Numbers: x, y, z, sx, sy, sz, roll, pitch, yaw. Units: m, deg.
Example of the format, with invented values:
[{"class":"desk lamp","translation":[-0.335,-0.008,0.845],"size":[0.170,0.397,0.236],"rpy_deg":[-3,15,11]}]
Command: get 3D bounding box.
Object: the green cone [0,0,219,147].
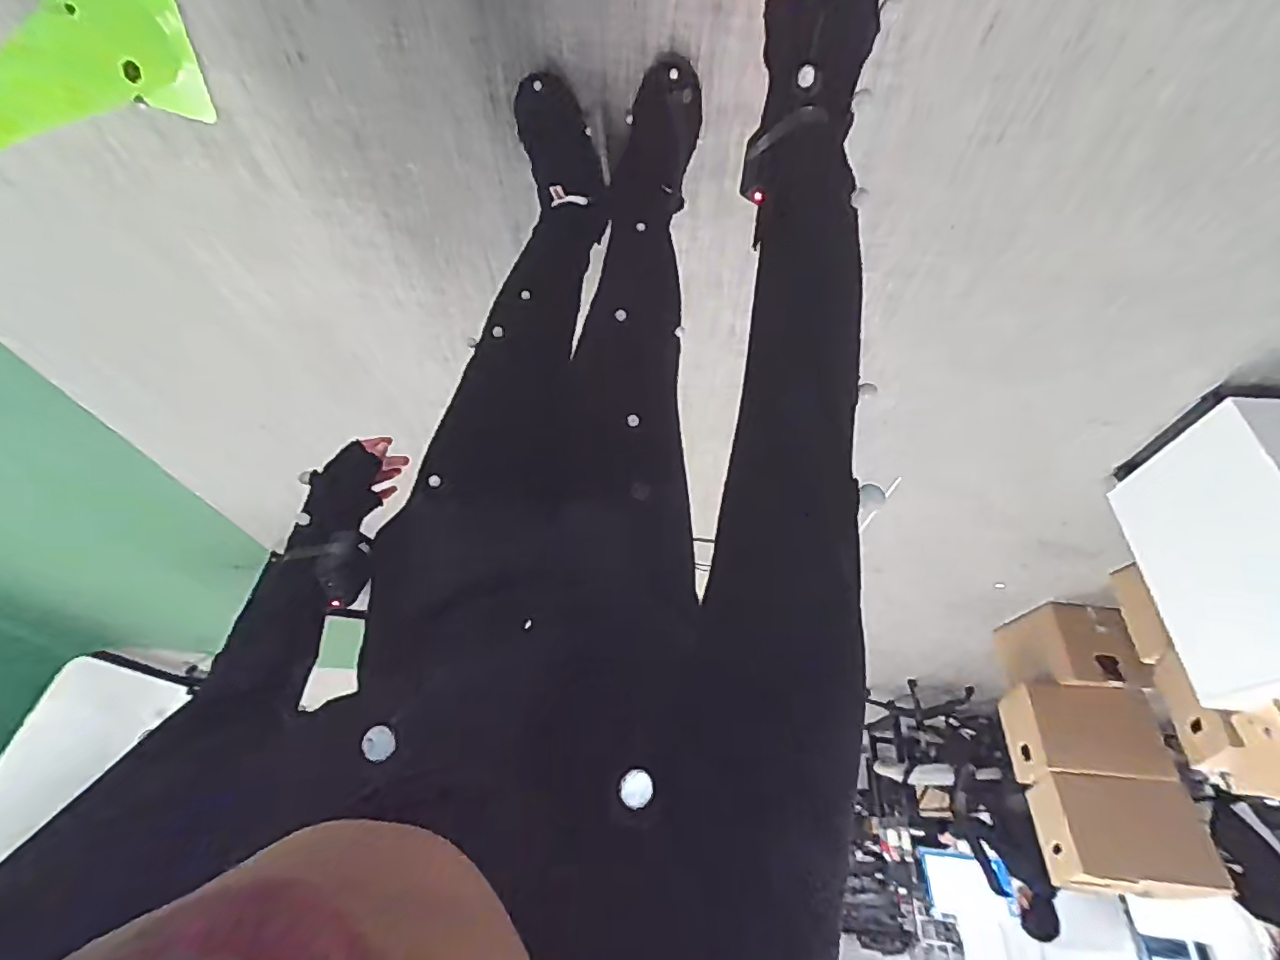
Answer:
[{"class":"green cone","translation":[-0.804,-0.543,0.738],"size":[0.202,0.368,0.200],"rpy_deg":[12,146,-8]}]
